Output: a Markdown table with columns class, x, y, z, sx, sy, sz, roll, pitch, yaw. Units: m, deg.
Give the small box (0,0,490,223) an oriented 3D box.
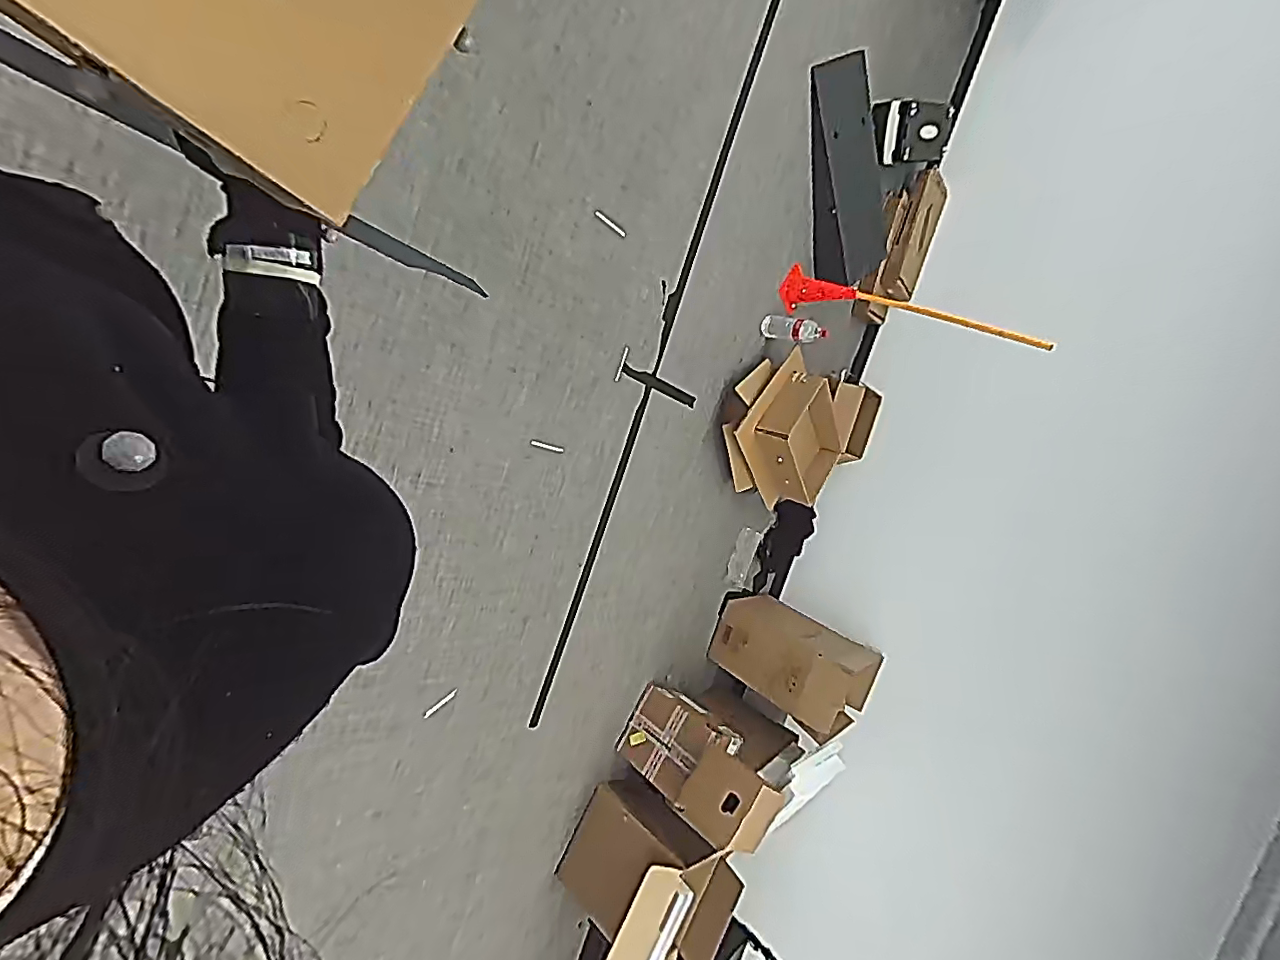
| class | x | y | z | sx | sy | sz | roll | pitch | yaw |
| --- | --- | --- | --- | --- | --- | --- | --- | --- | --- |
| small box | -0.210 | -0.271 | 0.293 | 0.168 | 0.176 | 0.179 | 30 | 91 | -47 |
